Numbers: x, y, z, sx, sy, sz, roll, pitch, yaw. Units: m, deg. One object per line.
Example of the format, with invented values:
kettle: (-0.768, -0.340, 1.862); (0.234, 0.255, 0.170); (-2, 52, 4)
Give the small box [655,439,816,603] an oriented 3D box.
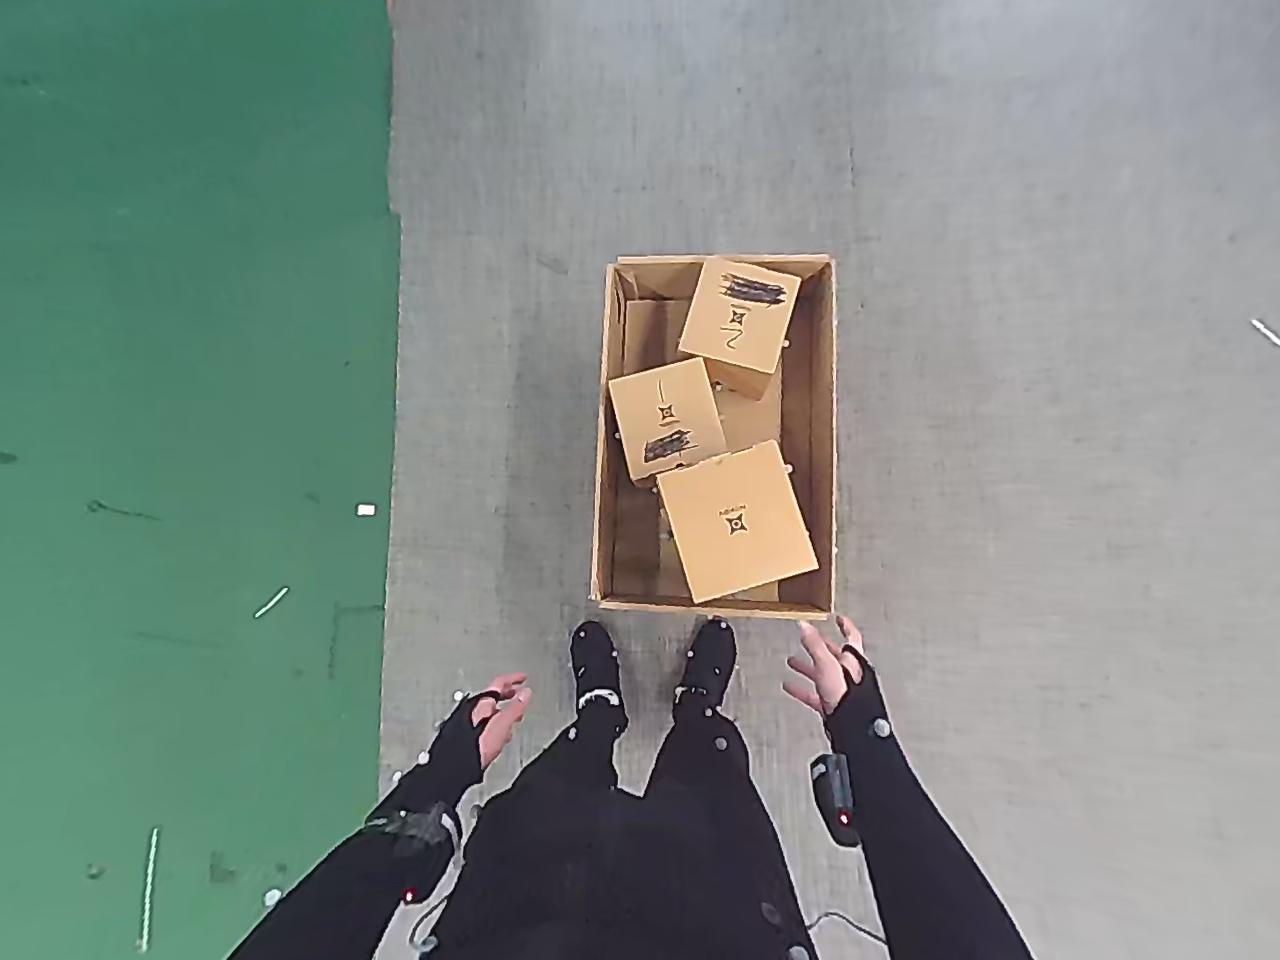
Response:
small box: (0.129, 0.061, 0.766); (0.168, 0.176, 0.179); (-18, 80, 3)
